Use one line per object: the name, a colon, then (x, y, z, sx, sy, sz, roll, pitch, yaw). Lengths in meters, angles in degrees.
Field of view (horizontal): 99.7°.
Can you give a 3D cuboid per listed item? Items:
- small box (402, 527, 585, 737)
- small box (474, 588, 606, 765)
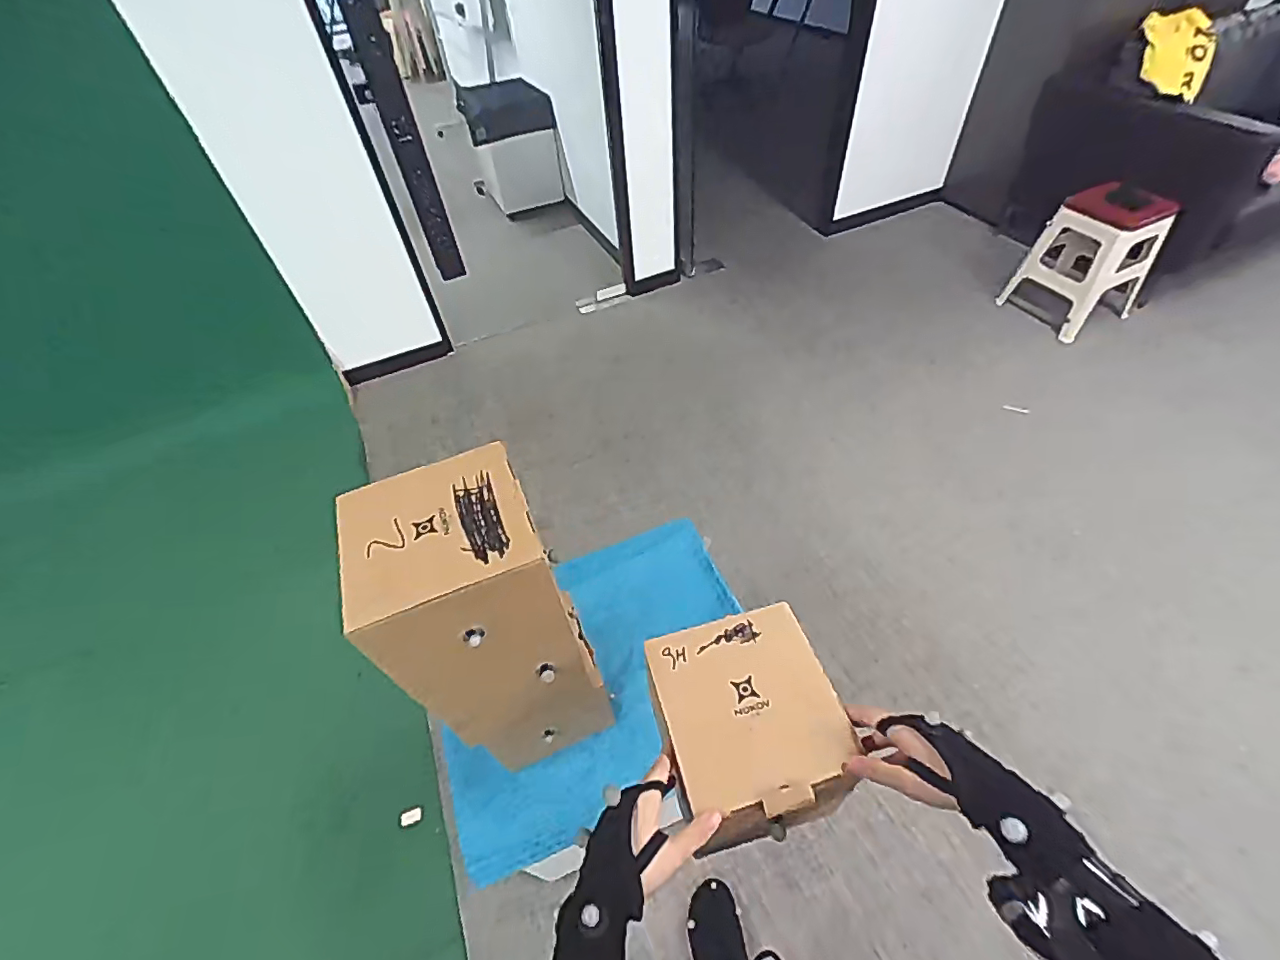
small box: (-0.176, 0.194, 0.688, 0.179, 0.176, 0.168, -20, 50, -12)
small box: (-0.158, 0.297, 0.815, 0.179, 0.176, 0.168, -20, 50, -12)
